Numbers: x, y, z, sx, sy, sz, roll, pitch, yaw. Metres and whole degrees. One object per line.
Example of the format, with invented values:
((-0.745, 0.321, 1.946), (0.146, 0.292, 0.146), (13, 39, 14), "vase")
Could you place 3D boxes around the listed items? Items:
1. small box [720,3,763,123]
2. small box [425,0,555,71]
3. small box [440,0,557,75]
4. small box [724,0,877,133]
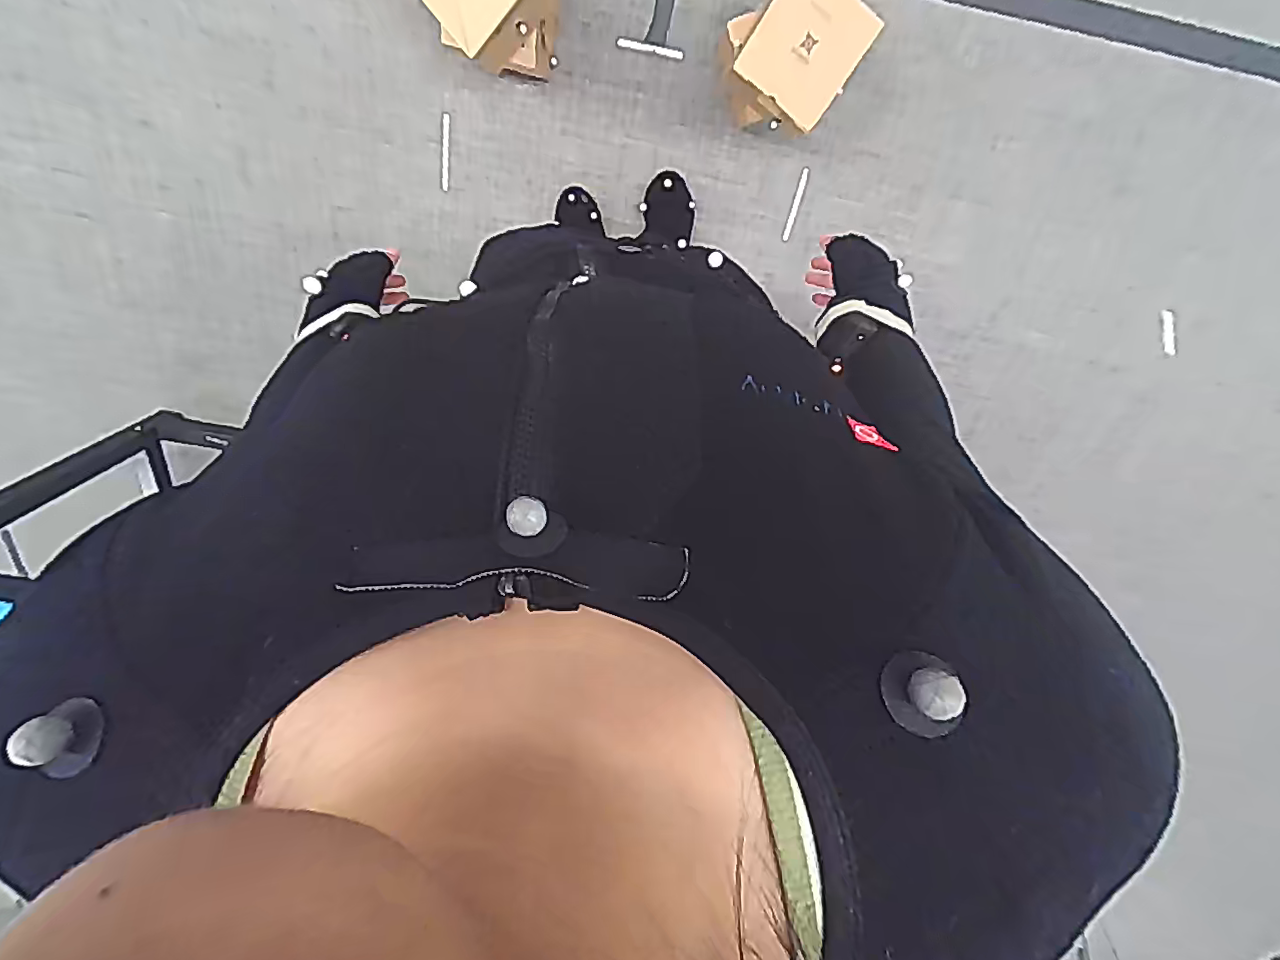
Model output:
((0.259, -0.820, 1.055), (0.179, 0.176, 0.168), (-16, 121, 11), "small box")
((-0.263, -0.819, 0.876), (0.168, 0.176, 0.179), (-37, 112, 21), "small box")
((-0.261, -0.895, 1.026), (0.179, 0.176, 0.168), (13, 120, -5), "small box")
((0.258, -0.726, 0.921), (0.168, 0.176, 0.179), (30, 117, -17), "small box")
